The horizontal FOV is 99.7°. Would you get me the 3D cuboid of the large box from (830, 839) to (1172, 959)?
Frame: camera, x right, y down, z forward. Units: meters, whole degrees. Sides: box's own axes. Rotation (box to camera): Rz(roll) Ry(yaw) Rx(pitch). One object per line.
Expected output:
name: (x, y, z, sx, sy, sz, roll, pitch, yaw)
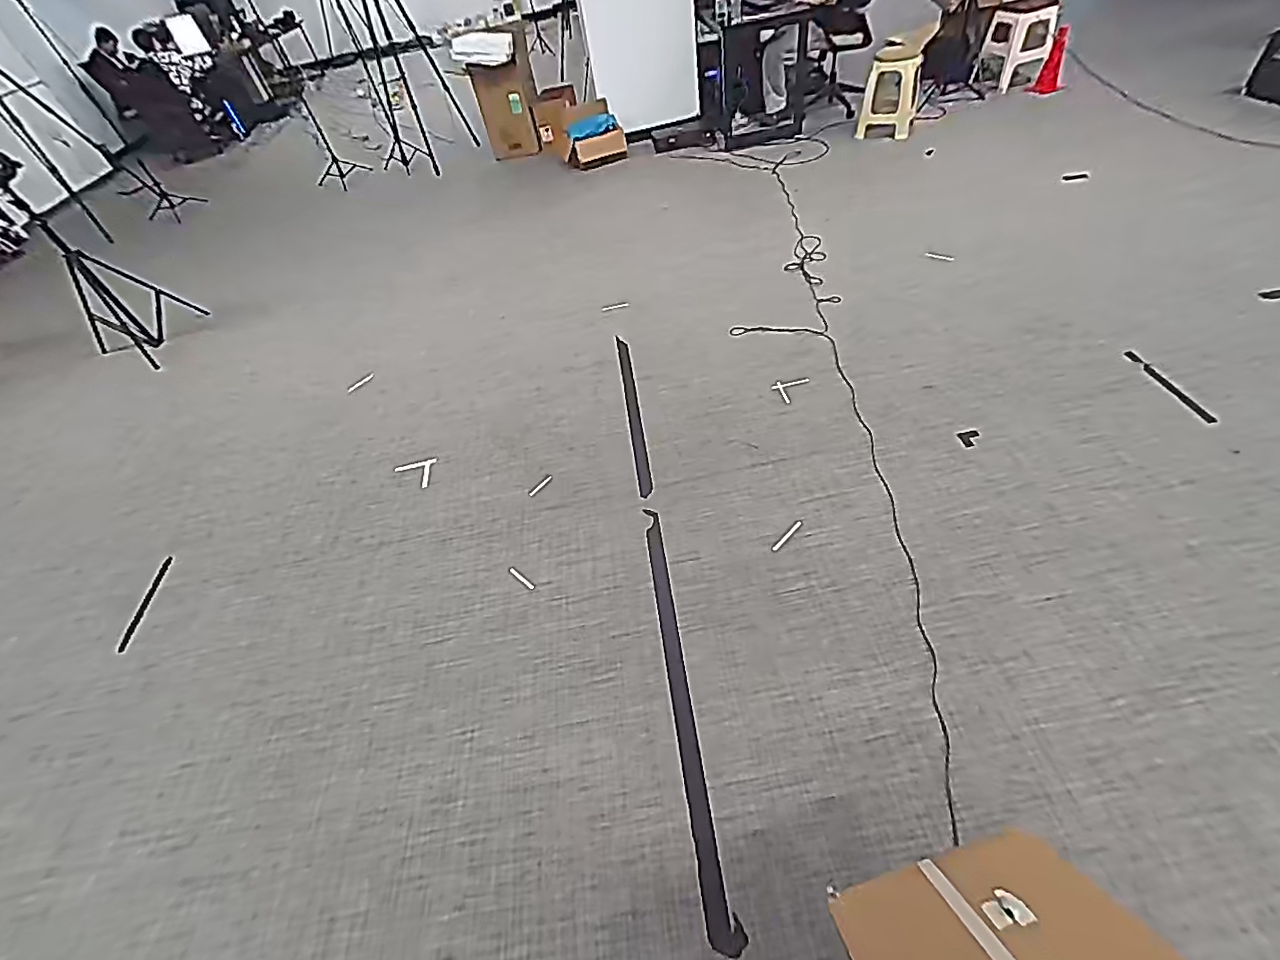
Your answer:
large box: (0.471, 0.702, 0.592, 0.320, 0.408, 0.320, -19, 82, 0)
